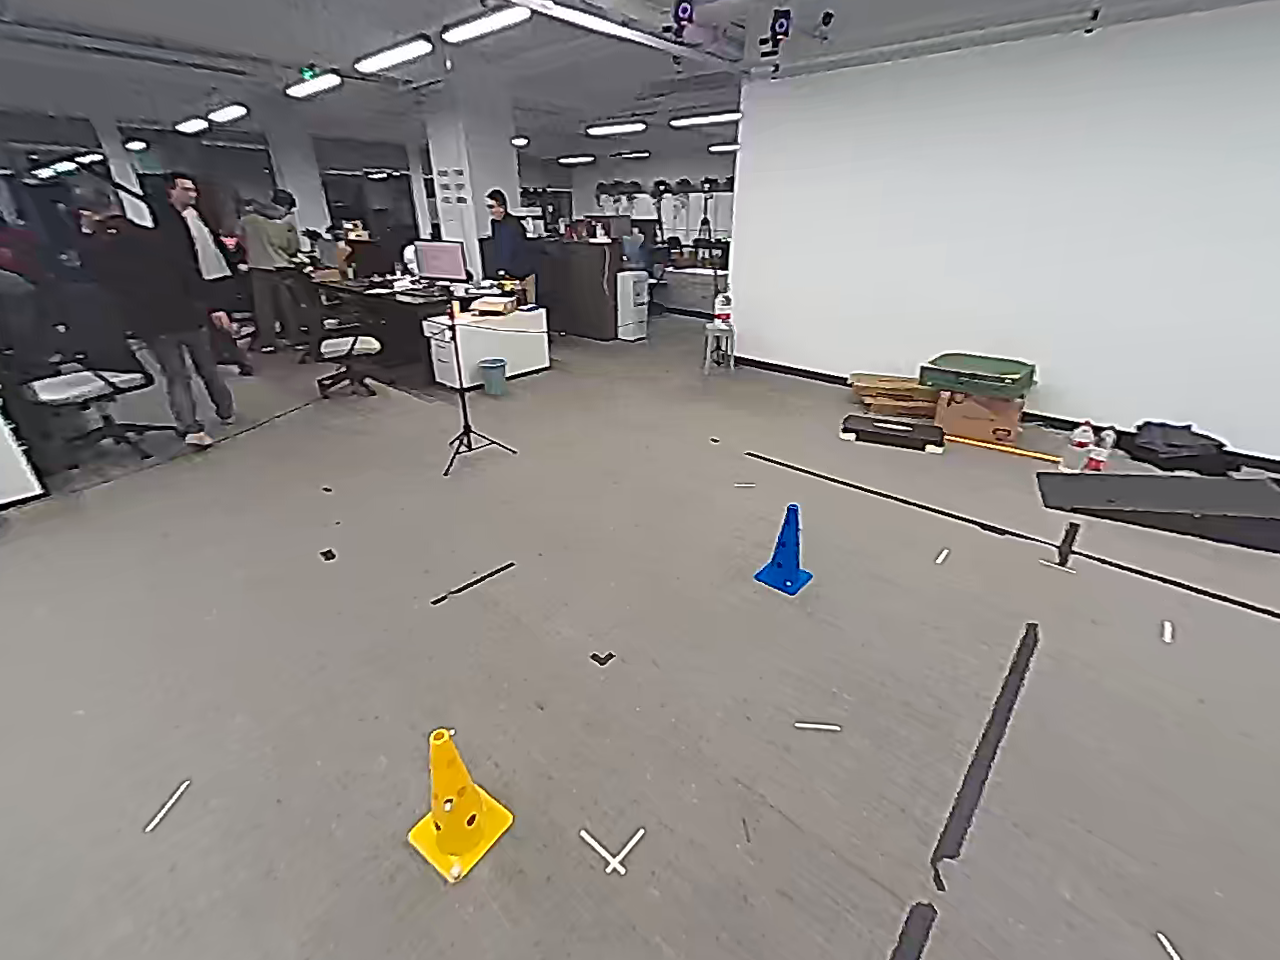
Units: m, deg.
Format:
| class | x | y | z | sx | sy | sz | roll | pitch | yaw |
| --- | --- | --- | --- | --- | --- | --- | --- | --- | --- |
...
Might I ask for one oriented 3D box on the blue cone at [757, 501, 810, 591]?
| class | x | y | z | sx | sy | sz | roll | pitch | yaw |
| --- | --- | --- | --- | --- | --- | --- | --- | --- | --- |
| blue cone | 0.631 | 0.268 | 2.301 | 0.192 | 0.380 | 0.193 | 22 | 33 | 38 |
